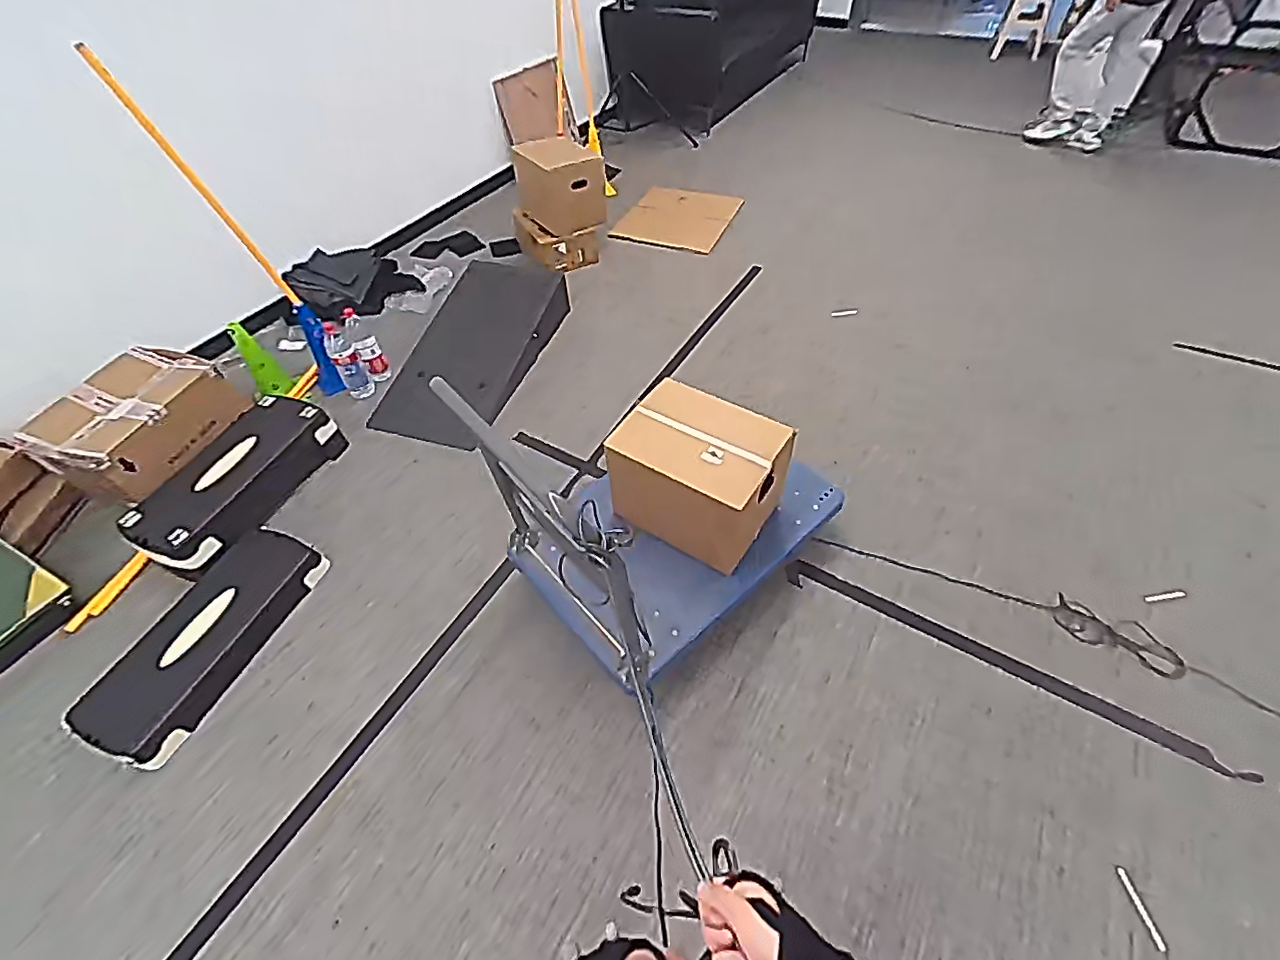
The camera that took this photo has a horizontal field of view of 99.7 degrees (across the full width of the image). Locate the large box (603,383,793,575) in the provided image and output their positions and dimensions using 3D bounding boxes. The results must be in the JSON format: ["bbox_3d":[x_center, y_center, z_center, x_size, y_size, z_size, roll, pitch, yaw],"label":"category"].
[{"bbox_3d":[0.153,-0.007,1.509,0.408,0.320,0.320,26,57,22],"label":"large box"}]
